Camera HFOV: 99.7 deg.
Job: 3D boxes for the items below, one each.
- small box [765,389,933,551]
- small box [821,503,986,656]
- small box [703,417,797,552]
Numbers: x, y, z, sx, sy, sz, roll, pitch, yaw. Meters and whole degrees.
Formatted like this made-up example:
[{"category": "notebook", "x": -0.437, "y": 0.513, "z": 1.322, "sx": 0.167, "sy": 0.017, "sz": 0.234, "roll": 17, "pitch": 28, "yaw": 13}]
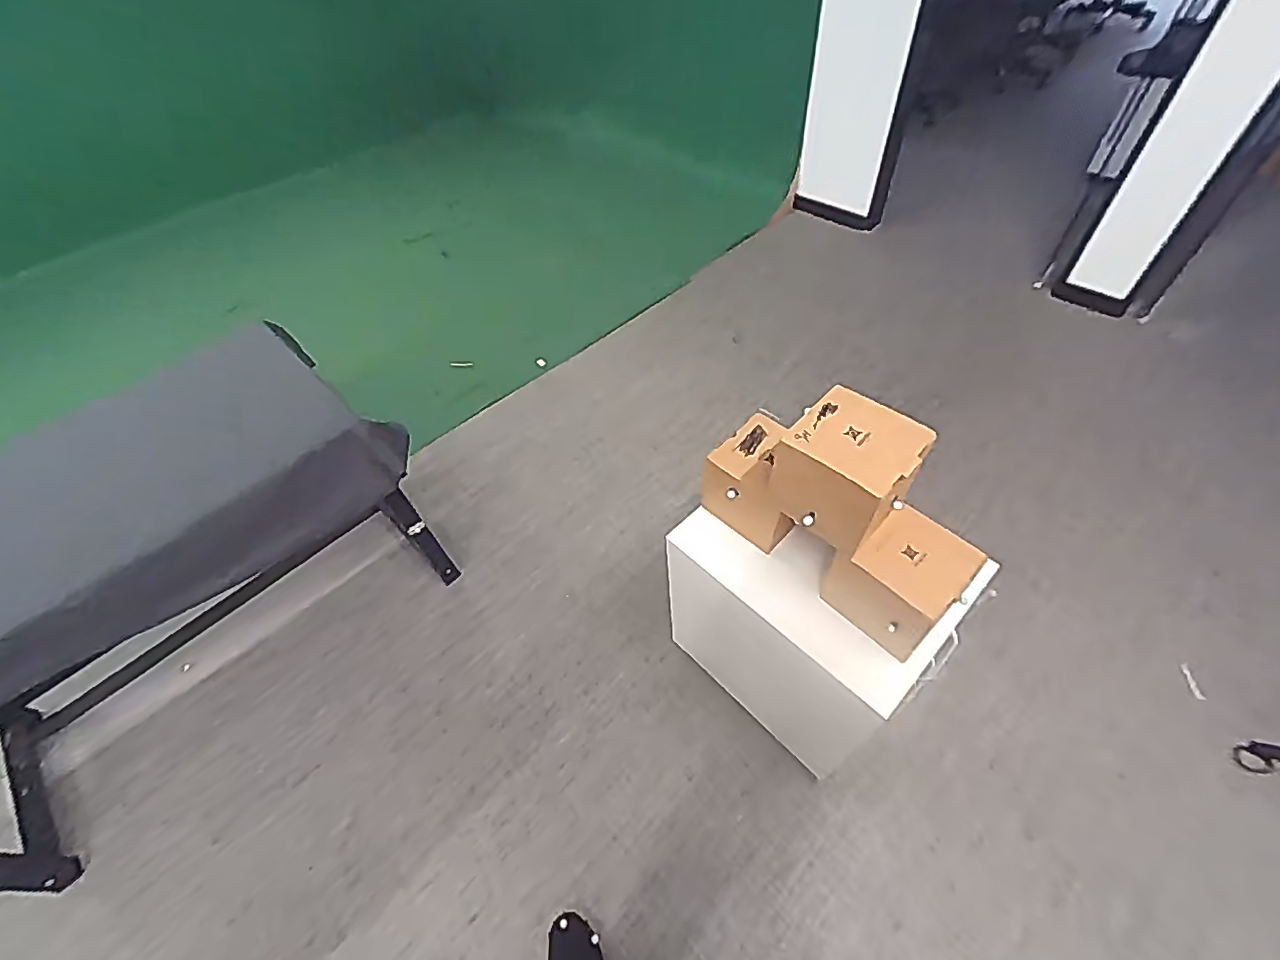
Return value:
[{"category": "small box", "x": 0.328, "y": -0.009, "z": 0.881, "sx": 0.179, "sy": 0.176, "sz": 0.168, "roll": 37, "pitch": 62, "yaw": 27}, {"category": "small box", "x": 0.441, "y": 0.177, "z": 0.932, "sx": 0.168, "sy": 0.176, "sz": 0.179, "roll": -37, "pitch": 55, "yaw": -23}, {"category": "small box", "x": 0.240, "y": 0.012, "z": 1.079, "sx": 0.179, "sy": 0.176, "sz": 0.168, "roll": 37, "pitch": 63, "yaw": 27}]
